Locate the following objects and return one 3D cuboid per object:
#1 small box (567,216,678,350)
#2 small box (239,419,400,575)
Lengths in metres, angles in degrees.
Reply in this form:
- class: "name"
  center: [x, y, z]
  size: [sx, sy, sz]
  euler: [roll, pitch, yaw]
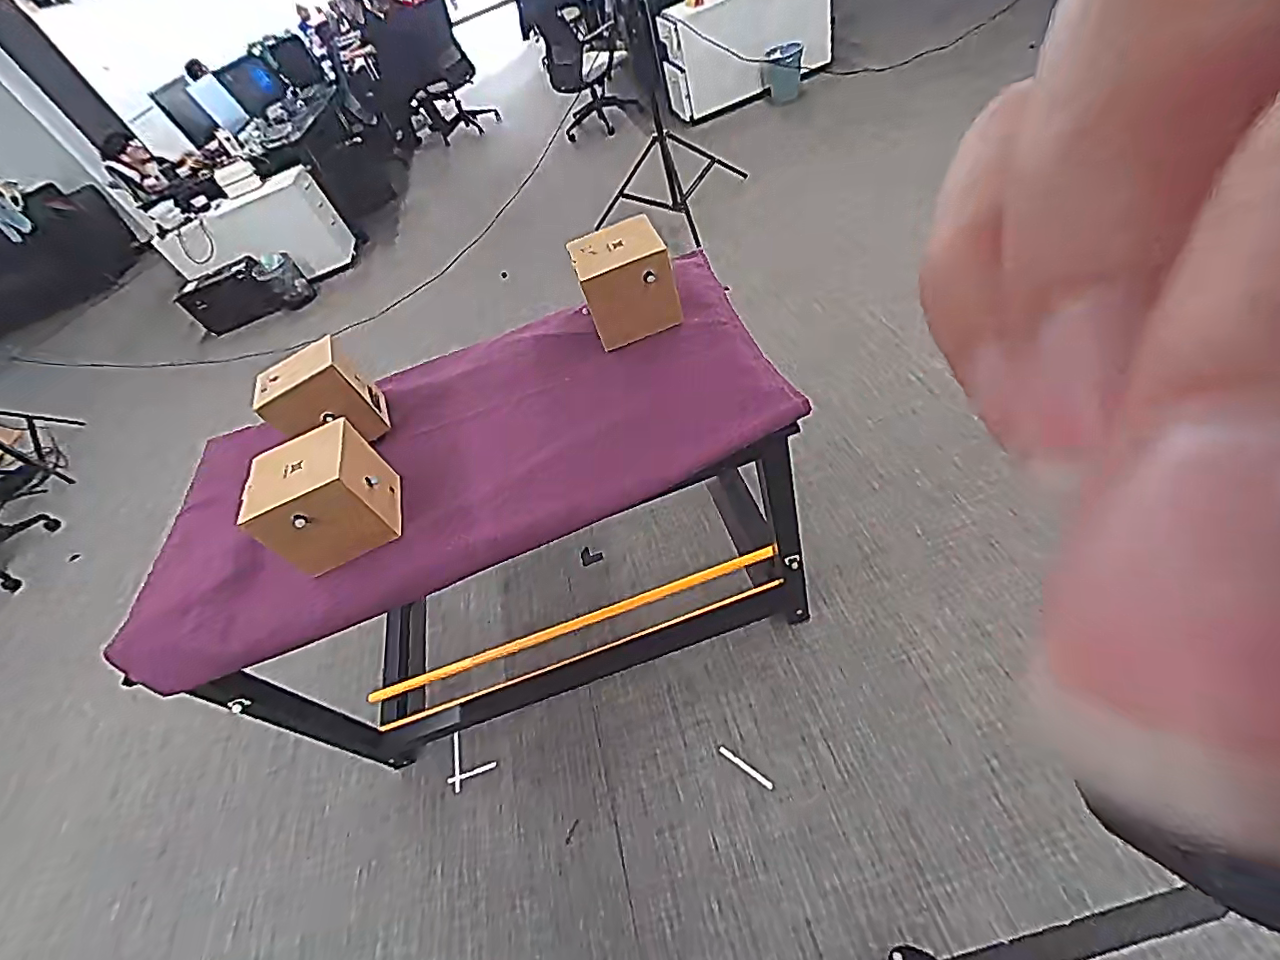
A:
- class: "small box"
  center: [-0.029, -0.400, 1.107]
  size: [0.179, 0.176, 0.168]
  euler: [-21, 48, 2]
- class: "small box"
  center: [-0.539, 0.033, 0.940]
  size: [0.179, 0.176, 0.168]
  euler: [-25, 47, -1]
